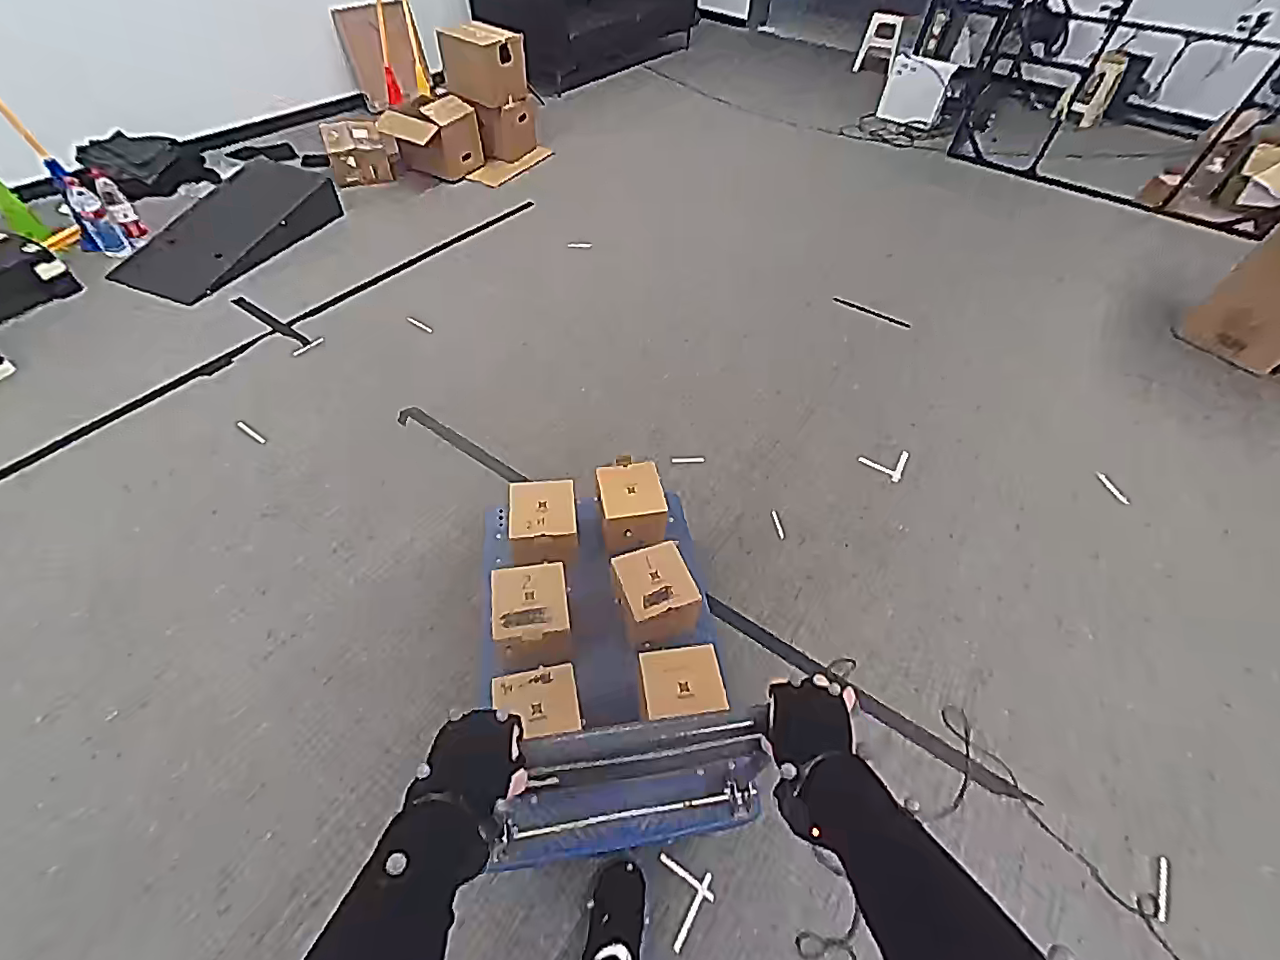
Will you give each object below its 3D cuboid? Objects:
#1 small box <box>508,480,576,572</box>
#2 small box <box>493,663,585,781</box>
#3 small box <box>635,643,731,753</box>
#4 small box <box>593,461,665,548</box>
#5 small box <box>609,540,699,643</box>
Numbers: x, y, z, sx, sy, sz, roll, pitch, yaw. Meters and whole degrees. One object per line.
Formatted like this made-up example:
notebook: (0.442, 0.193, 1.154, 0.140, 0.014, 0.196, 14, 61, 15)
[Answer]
small box: (-0.257, 0.122, 1.434, 0.168, 0.176, 0.179, -4, 52, -8)
small box: (-0.207, 0.507, 1.120, 0.168, 0.176, 0.179, -7, 52, -12)
small box: (0.085, 0.478, 1.173, 0.168, 0.176, 0.179, -4, 50, -9)
small box: (-0.035, 0.075, 1.497, 0.168, 0.176, 0.179, -7, 51, -11)
small box: (0.027, 0.281, 1.331, 0.168, 0.176, 0.179, -15, 52, -17)
